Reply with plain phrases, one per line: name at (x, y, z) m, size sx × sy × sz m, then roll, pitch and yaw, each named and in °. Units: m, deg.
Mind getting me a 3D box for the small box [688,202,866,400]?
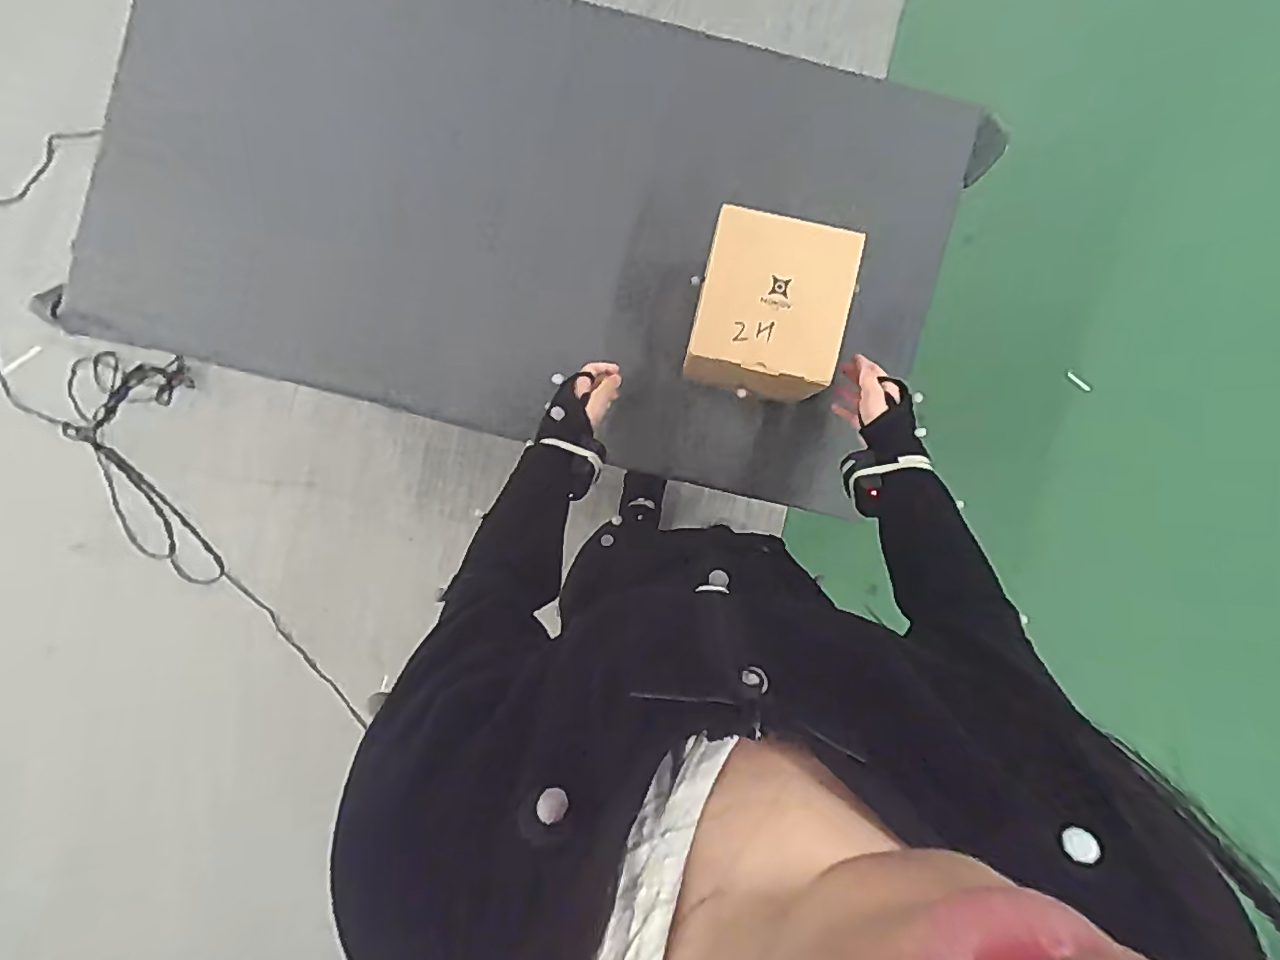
small box at (0.159, -0.213, 0.689) m, size 0.168 × 0.176 × 0.179 m, roll 13°, pitch 91°, yaw 3°
